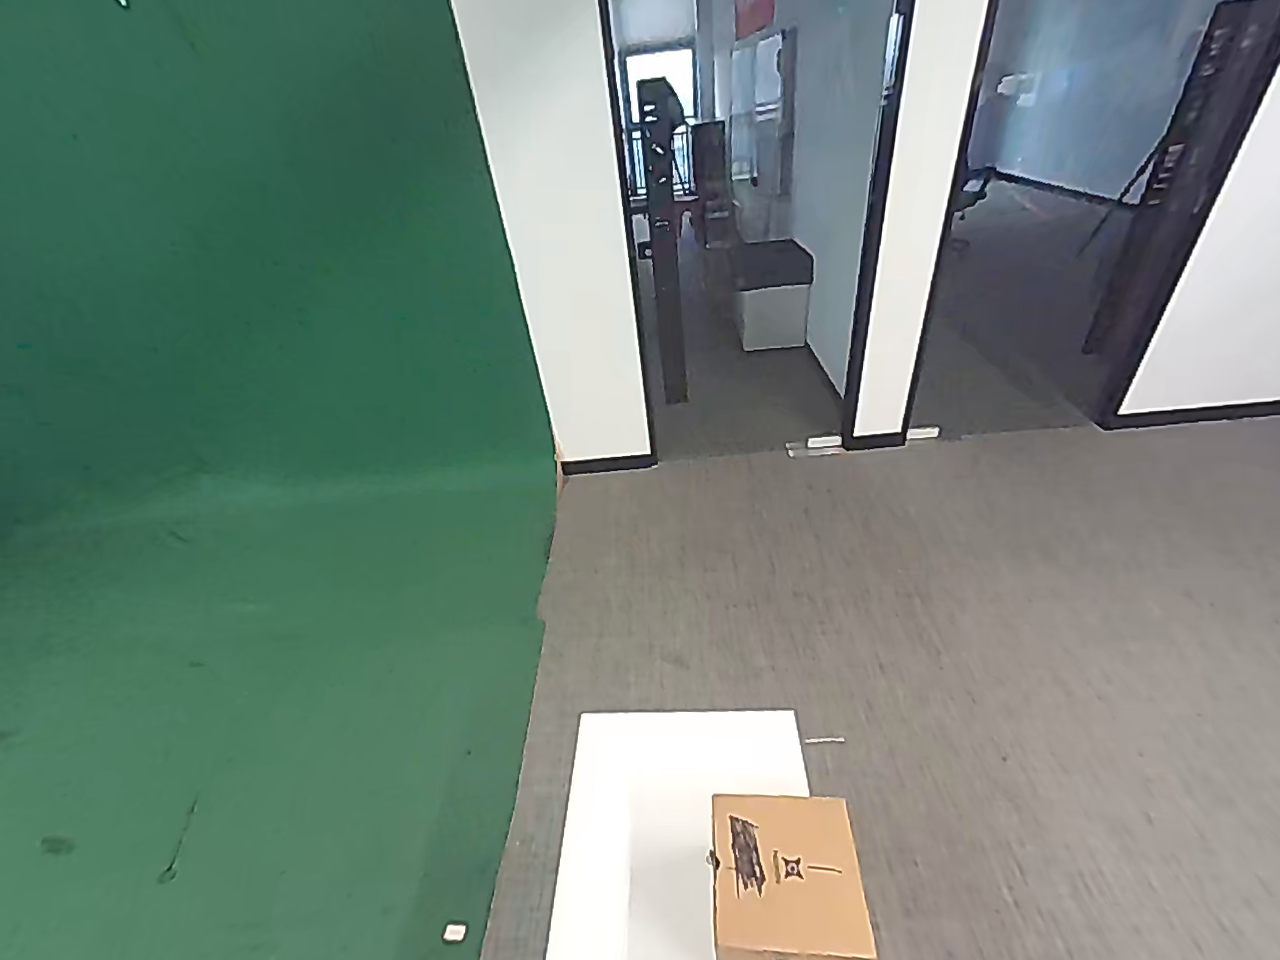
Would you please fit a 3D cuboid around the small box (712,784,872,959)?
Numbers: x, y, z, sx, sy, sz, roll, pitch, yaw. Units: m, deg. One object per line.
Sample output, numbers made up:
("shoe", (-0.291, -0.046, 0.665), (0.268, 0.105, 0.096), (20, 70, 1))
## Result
("small box", (0.188, 0.528, 0.714), (0.179, 0.176, 0.168), (-2, 36, 8))
